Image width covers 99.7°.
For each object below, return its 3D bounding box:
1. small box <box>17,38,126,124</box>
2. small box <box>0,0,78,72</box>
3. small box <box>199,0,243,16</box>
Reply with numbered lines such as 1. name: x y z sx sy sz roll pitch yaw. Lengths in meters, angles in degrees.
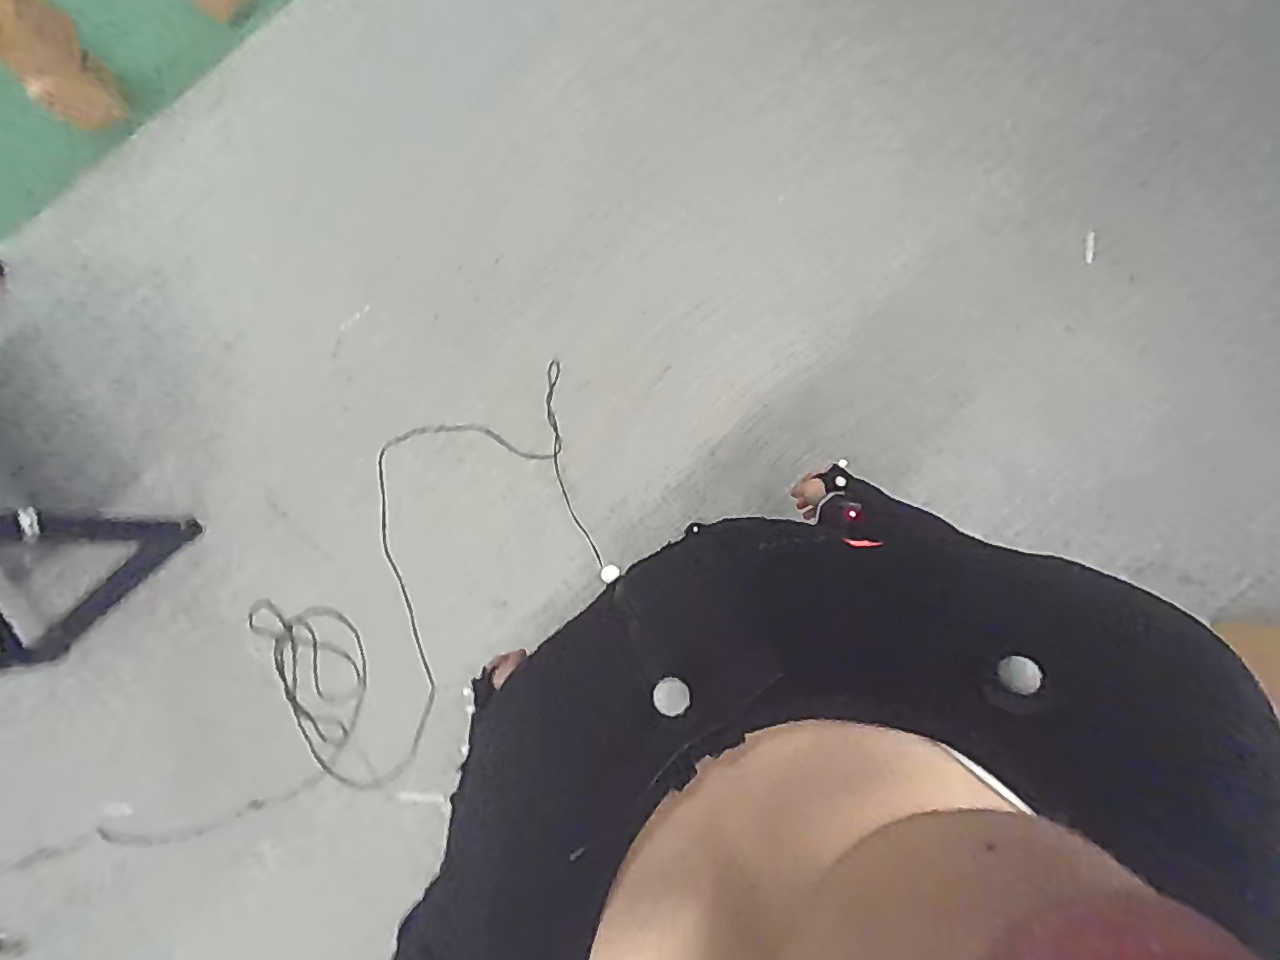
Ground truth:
1. small box: -1.754 -1.246 1.668 0.168 0.176 0.179 -25 83 0
2. small box: -1.735 -1.280 1.507 0.168 0.176 0.179 -4 83 1
3. small box: -1.369 -1.617 1.690 0.179 0.176 0.168 39 86 7
